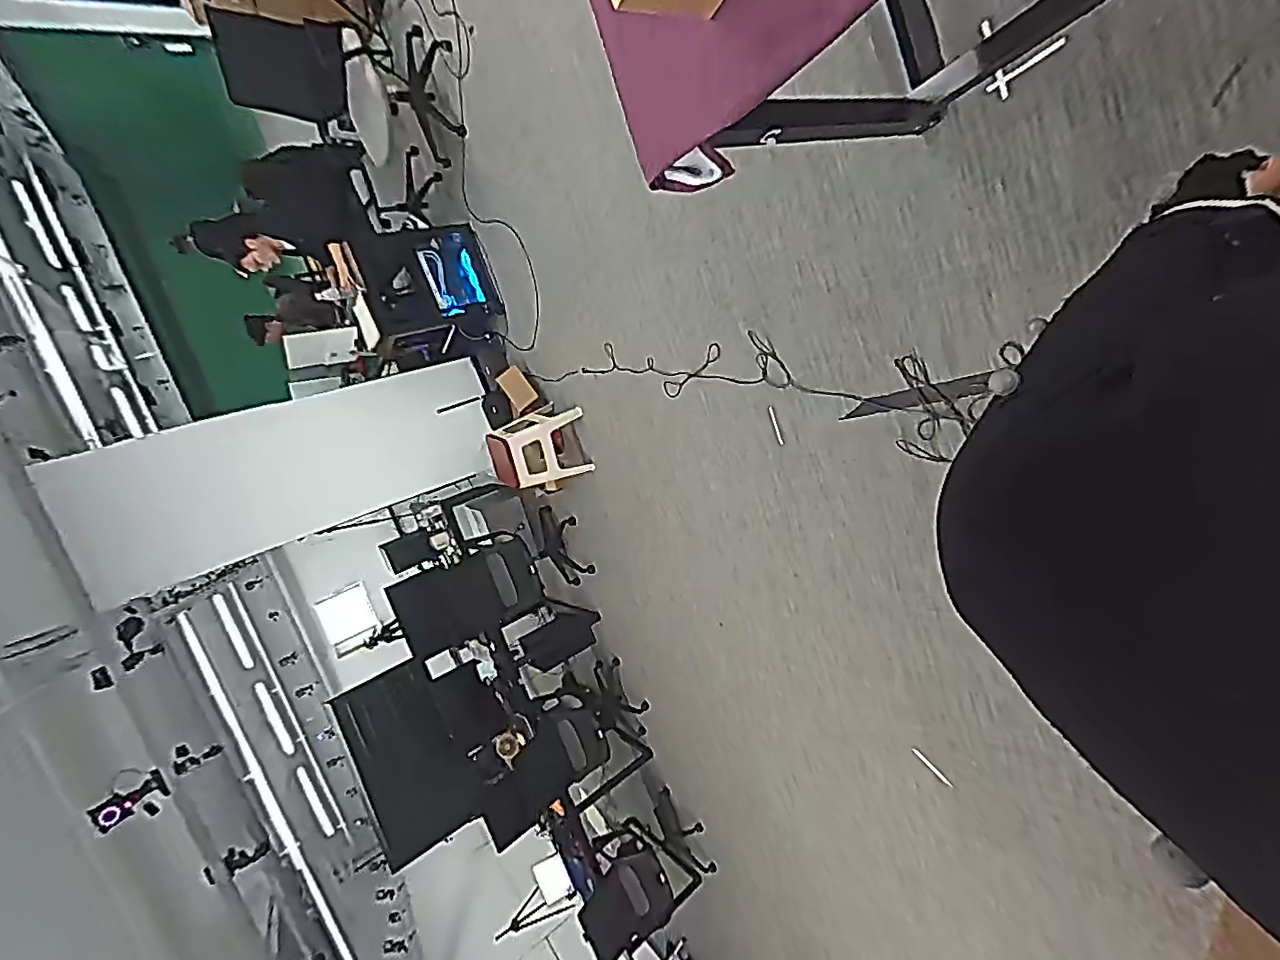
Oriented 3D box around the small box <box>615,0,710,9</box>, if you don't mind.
[{"bbox_3d":[0.041,-0.702,0.630,0.168,0.176,0.179,-21,93,60],"label":"small box"}]
